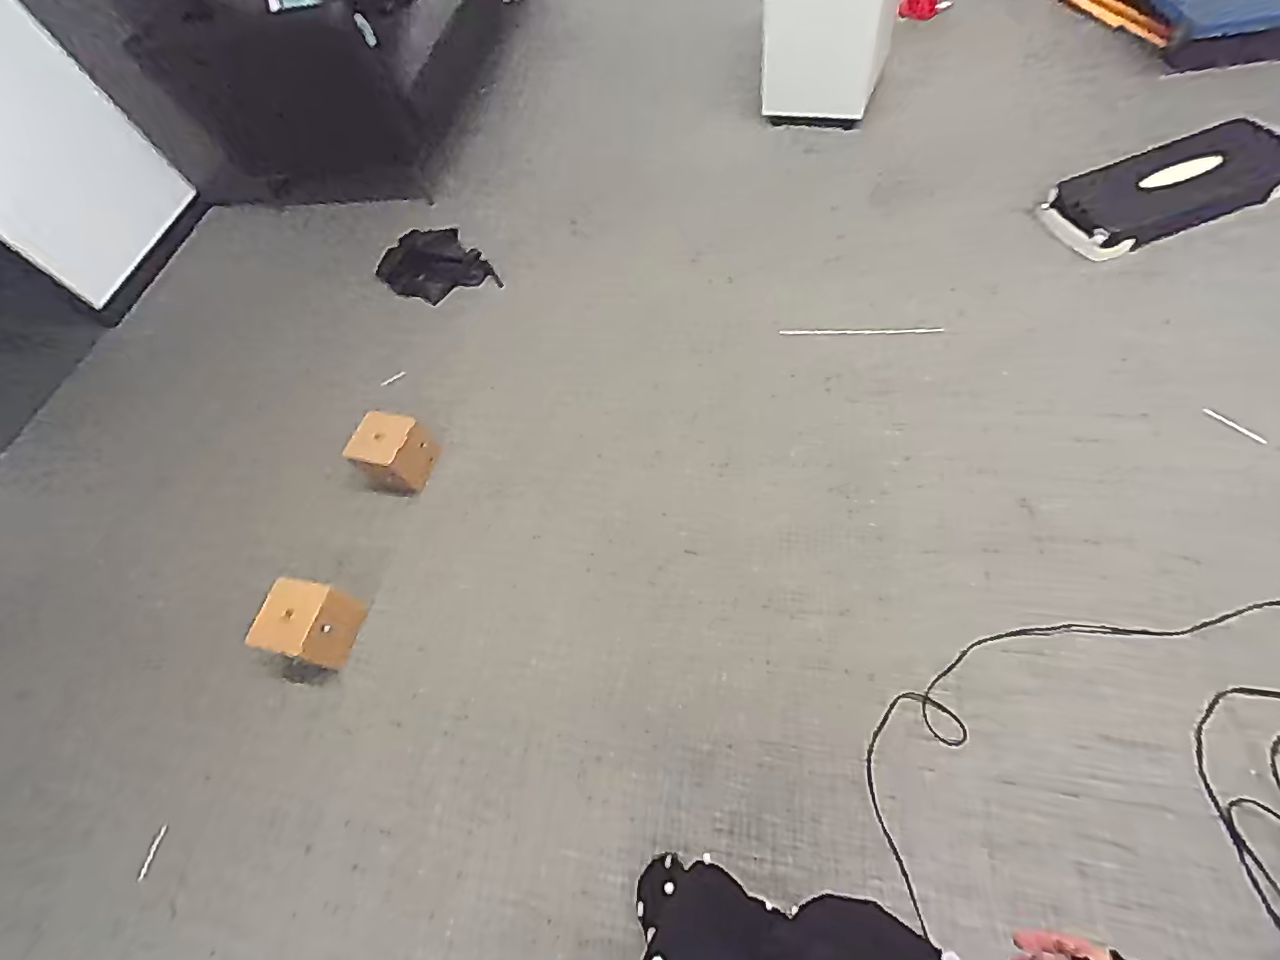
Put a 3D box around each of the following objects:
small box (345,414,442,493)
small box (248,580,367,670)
[{"bbox_3d":[-0.735,-0.075,1.638,0.179,0.176,0.168,9,62,17],"label":"small box"},{"bbox_3d":[-0.846,0.378,1.402,0.168,0.176,0.179,6,63,14],"label":"small box"}]
